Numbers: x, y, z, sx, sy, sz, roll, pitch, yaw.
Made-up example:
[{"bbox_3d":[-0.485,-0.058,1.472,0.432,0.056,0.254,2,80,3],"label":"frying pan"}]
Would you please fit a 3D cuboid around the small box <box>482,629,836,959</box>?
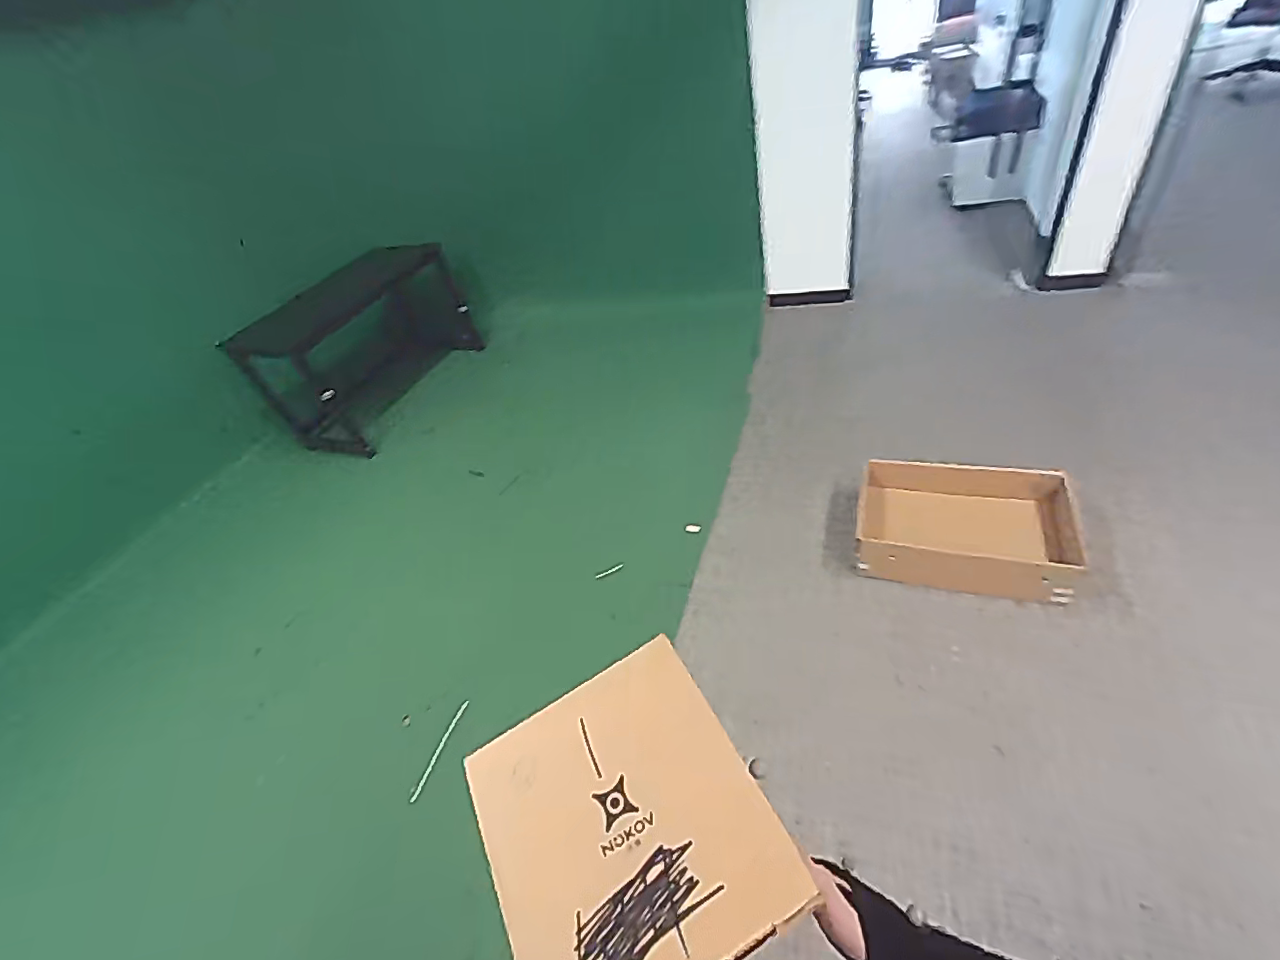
[{"bbox_3d":[0.017,0.246,0.387,0.168,0.176,0.179,-29,49,-7],"label":"small box"}]
